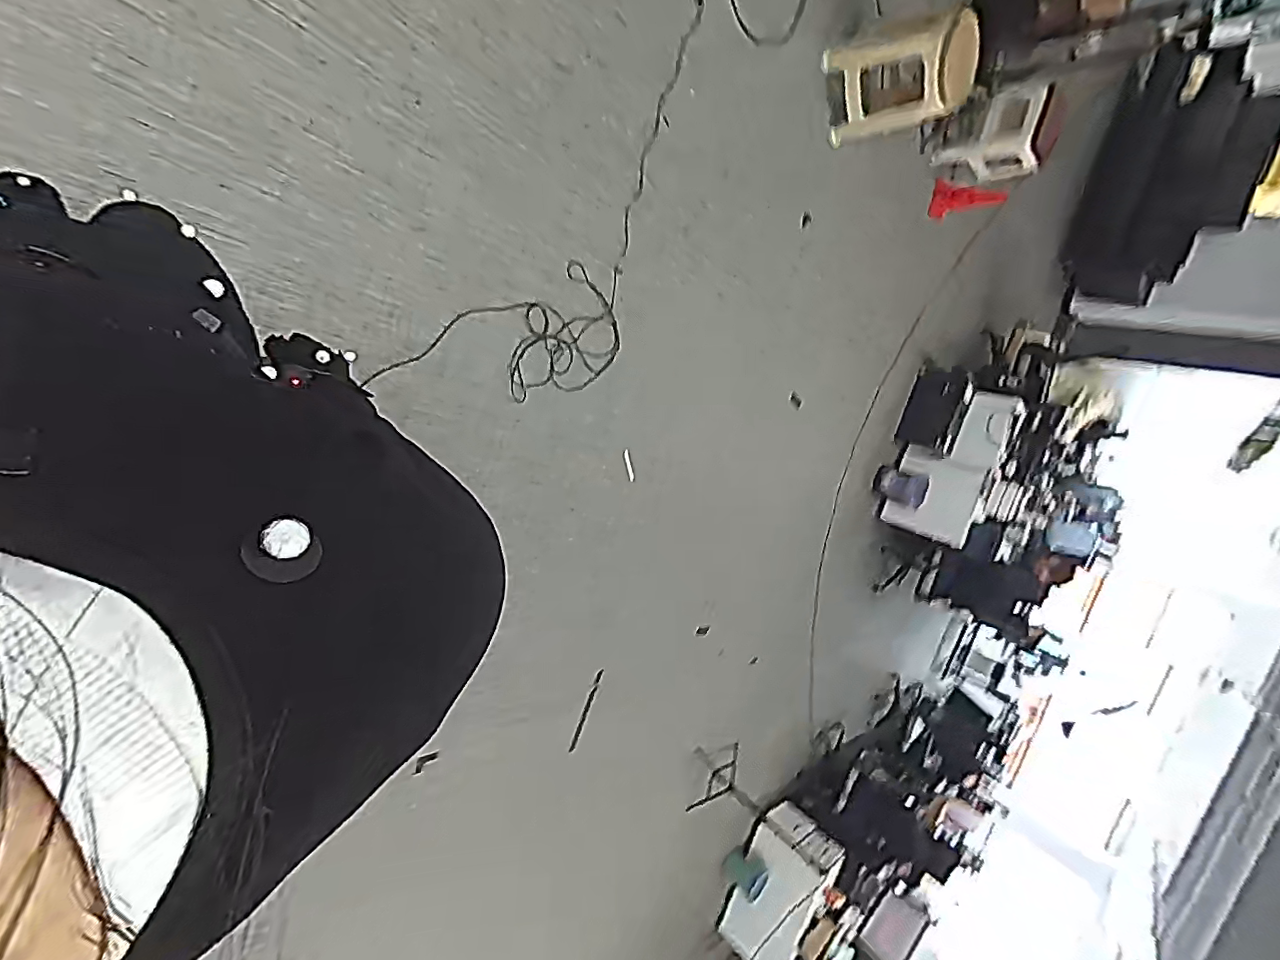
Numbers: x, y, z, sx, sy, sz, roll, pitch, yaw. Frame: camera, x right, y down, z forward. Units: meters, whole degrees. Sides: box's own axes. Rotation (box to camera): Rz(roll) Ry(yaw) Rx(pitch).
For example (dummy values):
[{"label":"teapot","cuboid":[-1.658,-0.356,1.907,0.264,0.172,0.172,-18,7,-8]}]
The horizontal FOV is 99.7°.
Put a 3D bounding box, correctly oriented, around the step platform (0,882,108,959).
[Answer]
[{"label":"step platform","cuboid":[-1.496,1.081,1.028,0.684,0.204,0.286,11,99,-46]}]
